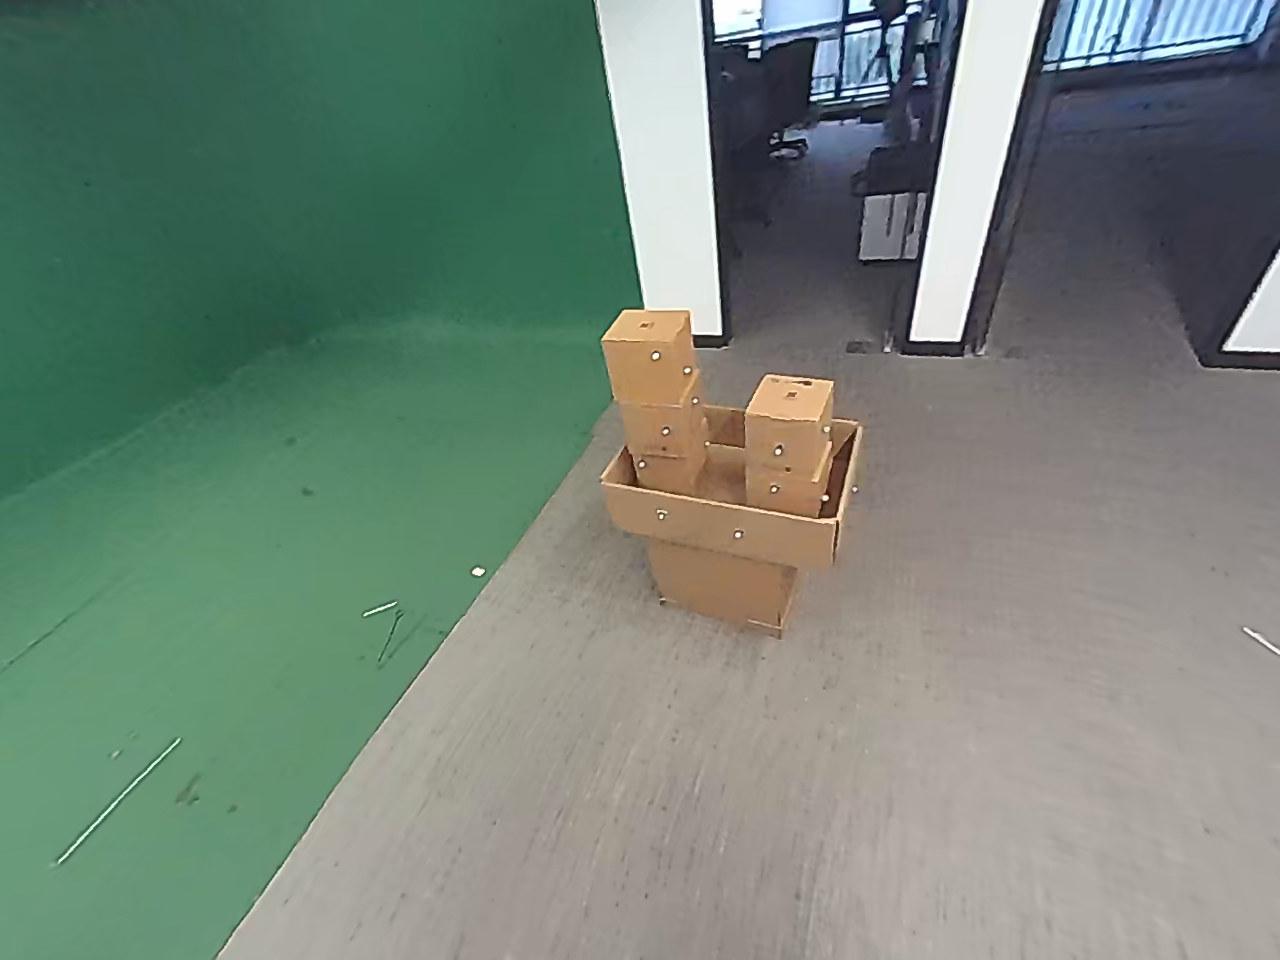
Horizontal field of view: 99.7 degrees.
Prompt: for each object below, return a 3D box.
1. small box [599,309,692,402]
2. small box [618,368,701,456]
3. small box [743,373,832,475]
[{"bbox_3d":[0.022,-0.305,1.327,0.179,0.176,0.168,6,43,19],"label":"small box"},{"bbox_3d":[0.060,-0.181,1.427,0.168,0.176,0.179,7,43,20],"label":"small box"},{"bbox_3d":[0.355,-0.133,1.296,0.168,0.176,0.179,12,46,25],"label":"small box"}]
